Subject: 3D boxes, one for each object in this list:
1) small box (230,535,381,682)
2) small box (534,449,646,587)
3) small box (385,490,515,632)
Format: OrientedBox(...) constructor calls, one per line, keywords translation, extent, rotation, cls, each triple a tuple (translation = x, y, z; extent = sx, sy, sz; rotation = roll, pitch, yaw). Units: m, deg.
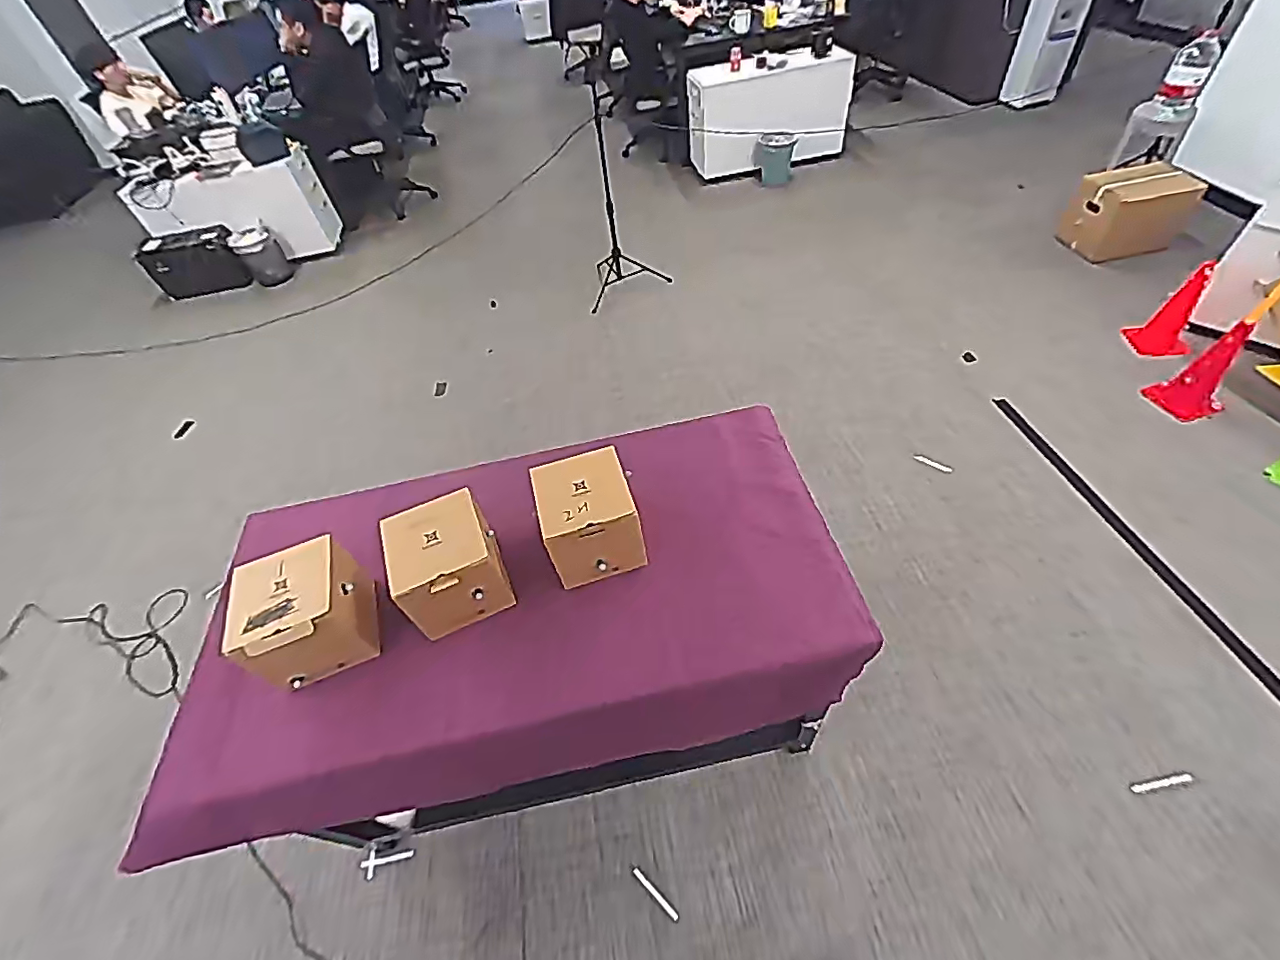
OrientedBox(translation=(-0.579, 0.234, 0.958), extent=(0.168, 0.176, 0.179), rotation=(-21, 49, -10), cls="small box")
OrientedBox(translation=(-0.093, 0.074, 1.026), extent=(0.168, 0.176, 0.179), rotation=(-16, 49, -5), cls="small box")
OrientedBox(translation=(-0.344, 0.155, 0.995), extent=(0.168, 0.176, 0.179), rotation=(-22, 50, -11), cls="small box")
